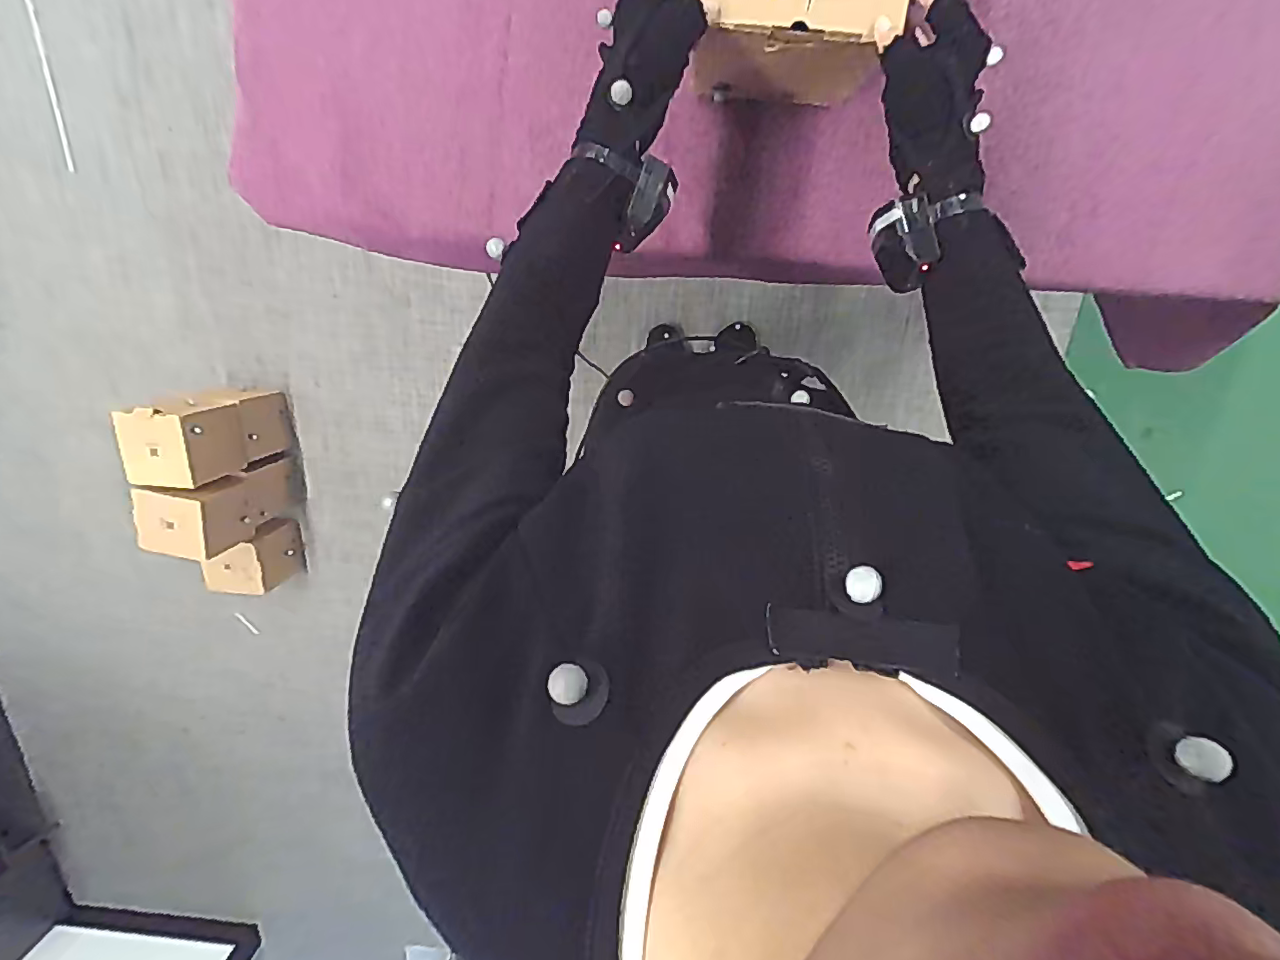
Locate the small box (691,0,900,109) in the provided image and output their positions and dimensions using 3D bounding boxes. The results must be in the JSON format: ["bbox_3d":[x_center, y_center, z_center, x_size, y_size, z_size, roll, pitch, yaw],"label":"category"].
[{"bbox_3d":[0.138,-0.467,0.493,0.168,0.176,0.179,6,108,1],"label":"small box"}]
